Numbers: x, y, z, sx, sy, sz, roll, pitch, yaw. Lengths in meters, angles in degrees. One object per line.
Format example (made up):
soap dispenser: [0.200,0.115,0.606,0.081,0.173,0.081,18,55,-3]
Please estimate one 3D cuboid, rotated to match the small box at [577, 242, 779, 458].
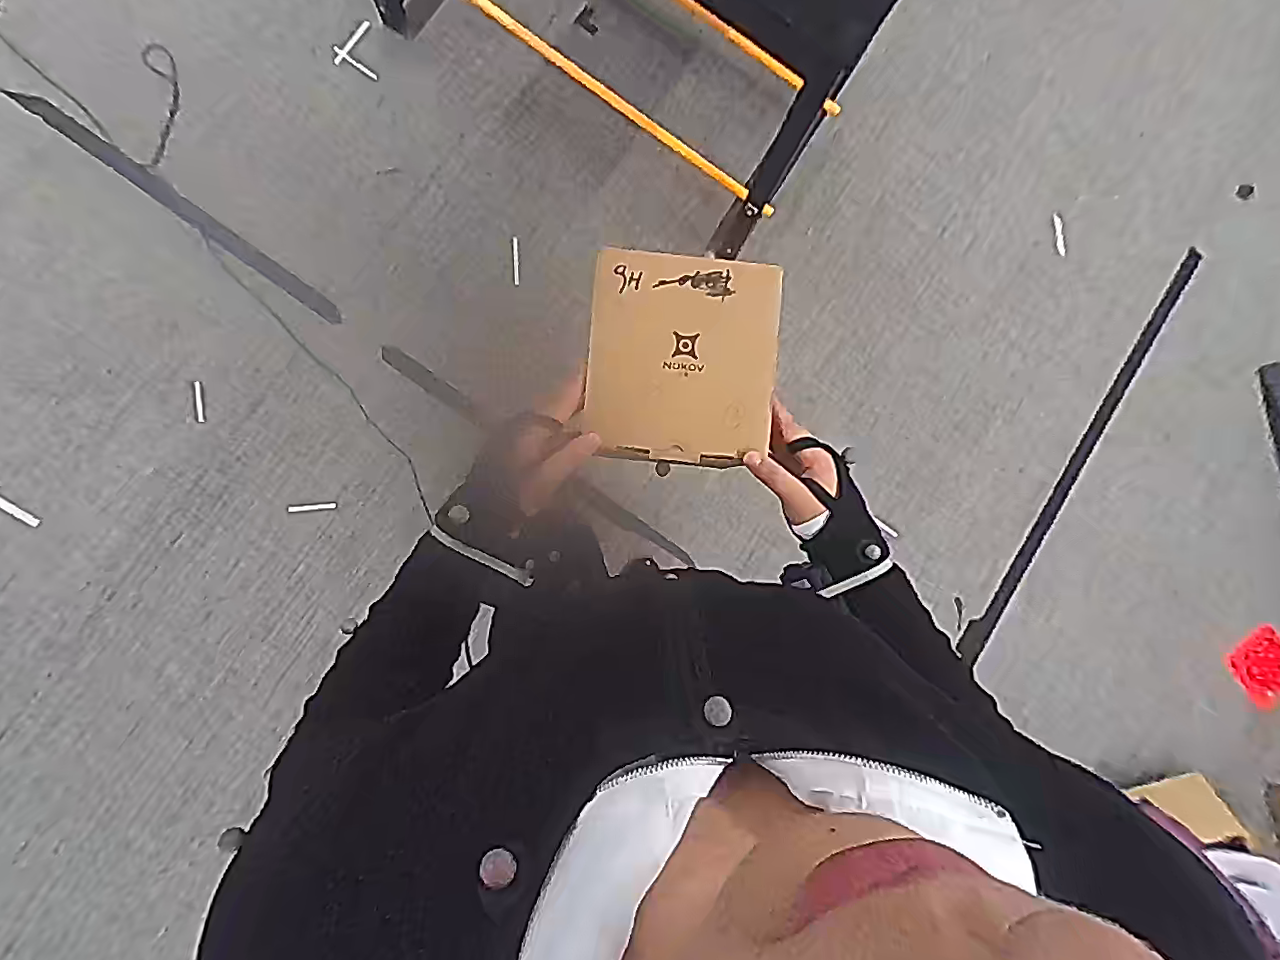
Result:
small box: [0.030,-0.115,0.552,0.168,0.176,0.179,4,90,-3]
